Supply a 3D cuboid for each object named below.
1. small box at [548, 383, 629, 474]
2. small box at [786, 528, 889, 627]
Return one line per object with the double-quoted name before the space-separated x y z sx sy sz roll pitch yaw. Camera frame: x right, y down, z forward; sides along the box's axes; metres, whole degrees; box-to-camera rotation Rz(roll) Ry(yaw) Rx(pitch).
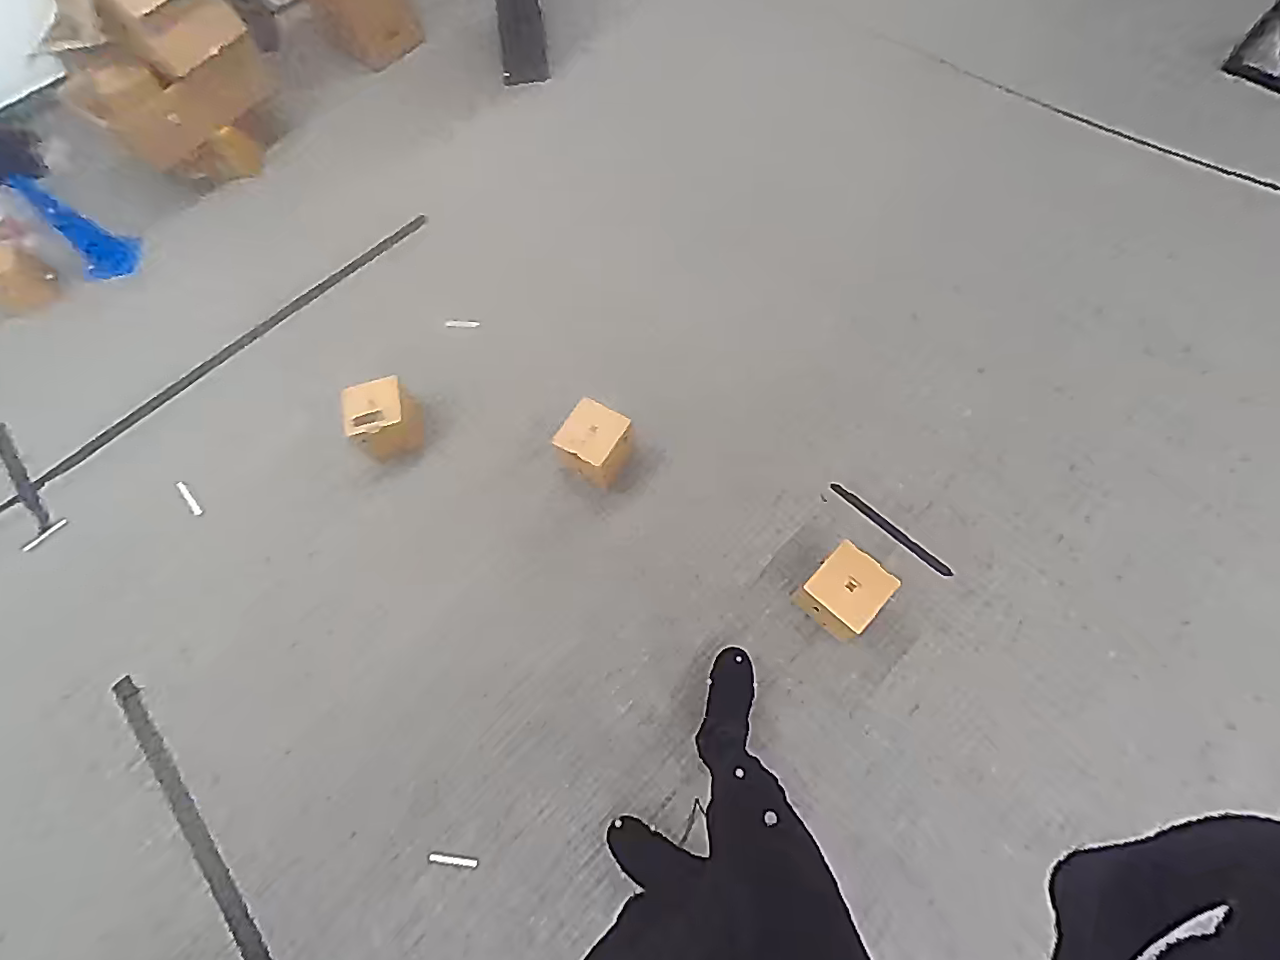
"small box" -0.144 -0.147 1.594 0.168 0.176 0.179 29 73 13
"small box" 0.500 0.261 1.402 0.168 0.176 0.179 42 76 17
